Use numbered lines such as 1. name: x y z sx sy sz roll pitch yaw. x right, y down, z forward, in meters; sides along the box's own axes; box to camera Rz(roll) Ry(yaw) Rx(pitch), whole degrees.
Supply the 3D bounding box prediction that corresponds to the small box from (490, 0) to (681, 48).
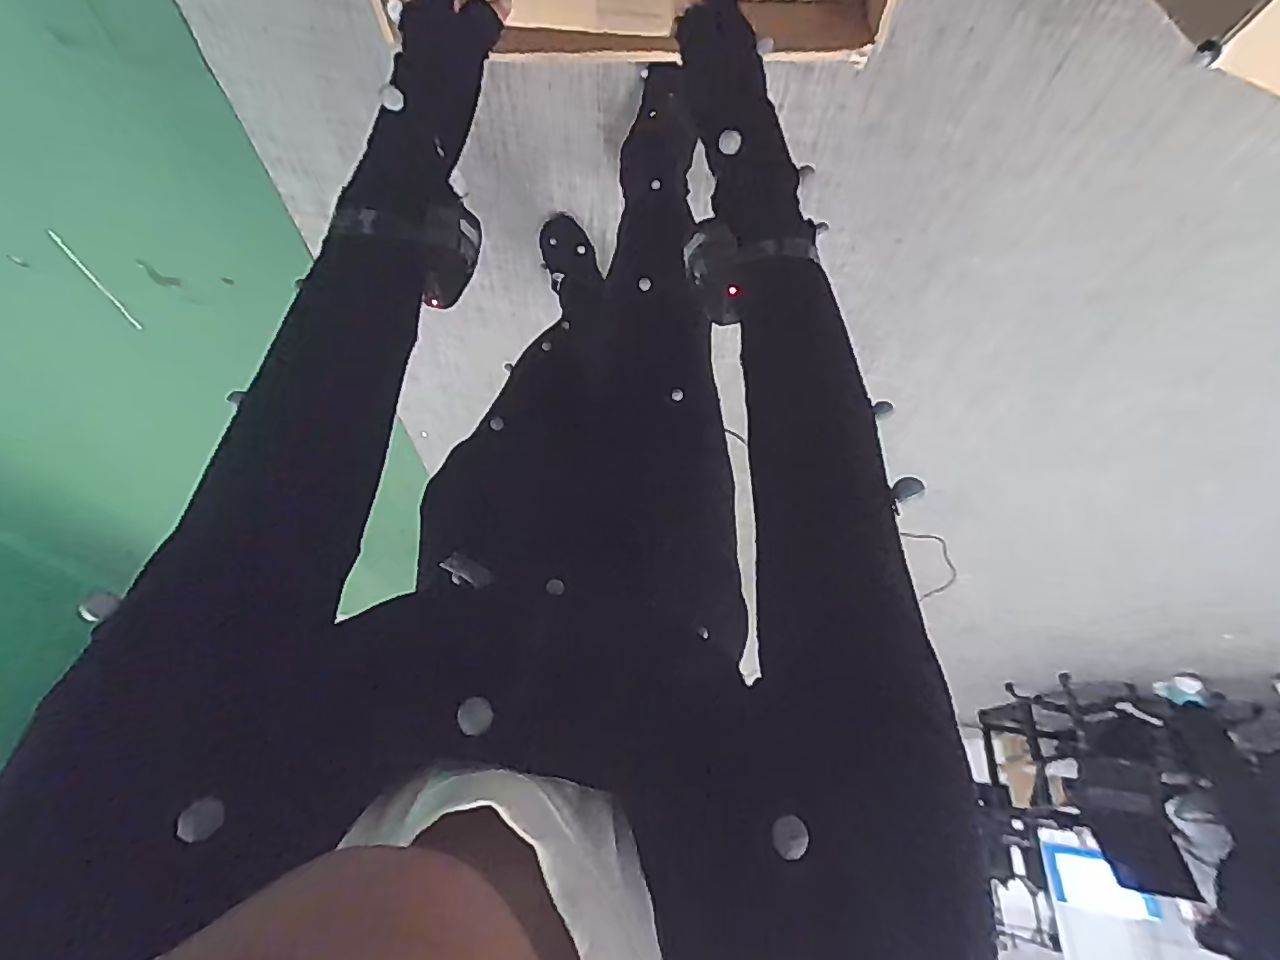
1. small box: -0.040 -0.524 0.481 0.179 0.176 0.168 6 150 3
